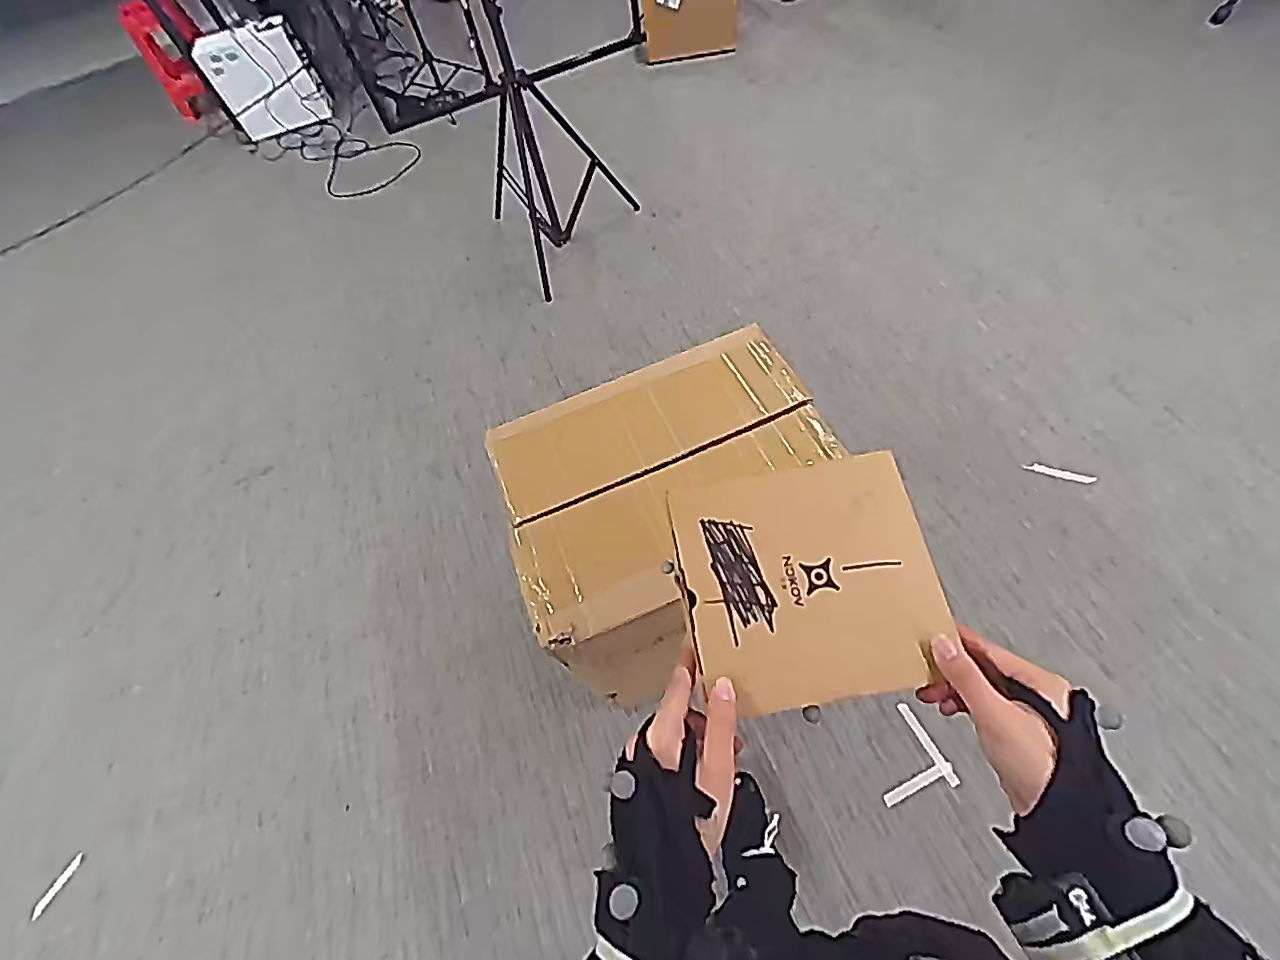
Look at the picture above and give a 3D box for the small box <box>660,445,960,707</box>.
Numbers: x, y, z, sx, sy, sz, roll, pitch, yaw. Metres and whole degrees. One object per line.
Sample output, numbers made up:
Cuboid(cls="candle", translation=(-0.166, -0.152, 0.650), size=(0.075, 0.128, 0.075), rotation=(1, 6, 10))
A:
Cuboid(cls="small box", translation=(0.120, 0.090, 0.457), size=(0.179, 0.176, 0.168), rotation=(-11, 70, 1))
